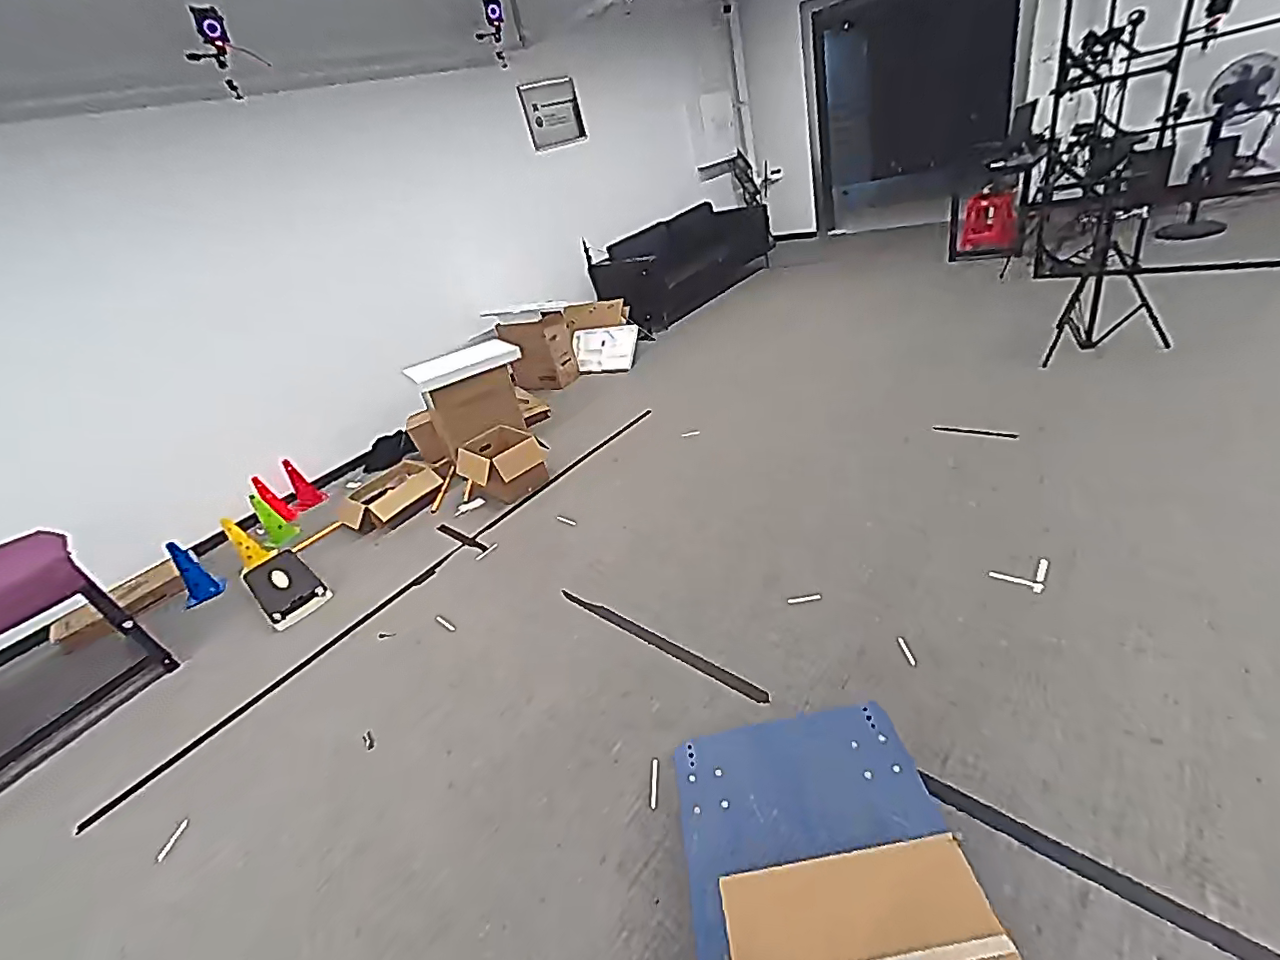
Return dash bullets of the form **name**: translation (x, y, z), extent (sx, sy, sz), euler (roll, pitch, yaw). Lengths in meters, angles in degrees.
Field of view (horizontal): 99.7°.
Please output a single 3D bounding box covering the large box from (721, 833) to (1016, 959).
- **large box**: translation (0.374, 0.846, 0.865), extent (0.408, 0.320, 0.320), euler (-13, 30, 3)
